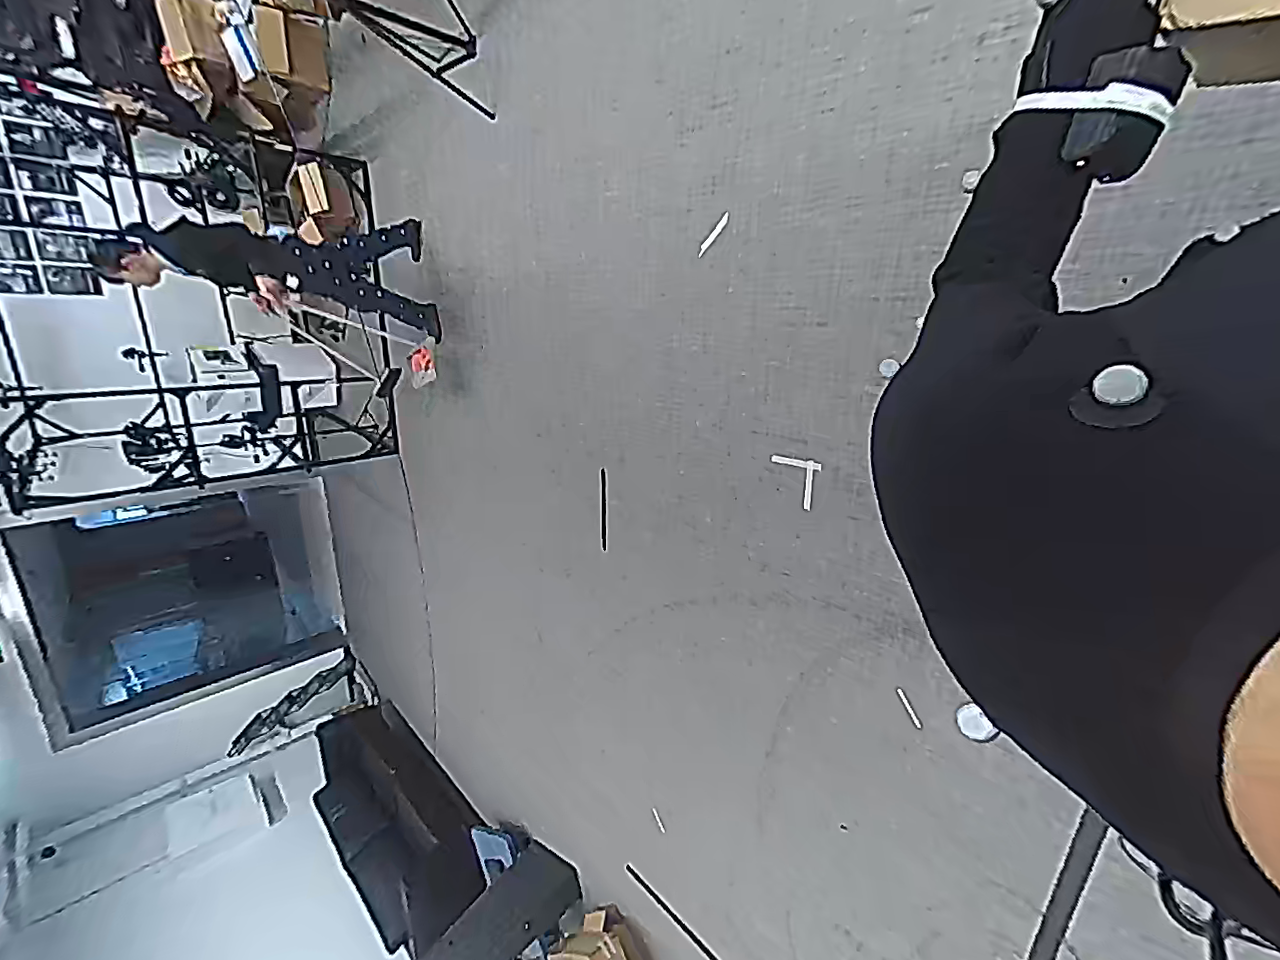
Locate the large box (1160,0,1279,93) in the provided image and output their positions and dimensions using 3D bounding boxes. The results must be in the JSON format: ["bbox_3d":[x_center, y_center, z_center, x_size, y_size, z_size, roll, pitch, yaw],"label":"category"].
[{"bbox_3d":[0.587,-0.418,0.261,0.408,0.320,0.320,25,127,40],"label":"large box"}]
